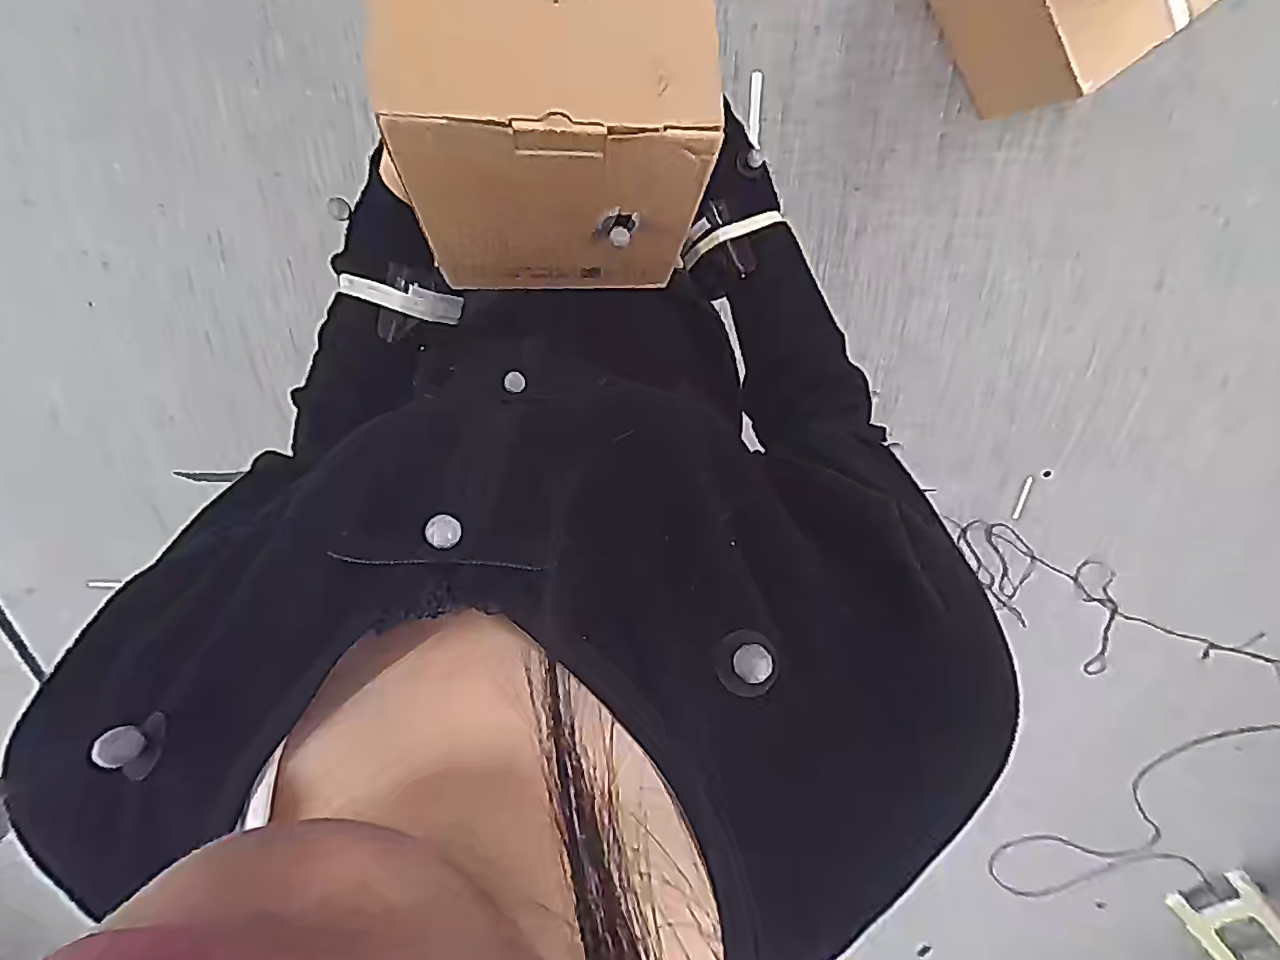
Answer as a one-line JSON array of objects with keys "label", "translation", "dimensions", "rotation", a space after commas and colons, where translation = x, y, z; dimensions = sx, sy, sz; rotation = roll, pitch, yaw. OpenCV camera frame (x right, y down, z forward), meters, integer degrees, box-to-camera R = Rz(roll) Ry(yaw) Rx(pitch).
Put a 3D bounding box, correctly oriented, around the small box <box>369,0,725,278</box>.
[{"label": "small box", "translation": [-0.056, -0.243, 0.338], "dimensions": [0.168, 0.176, 0.179], "rotation": [-4, 84, -10]}]
